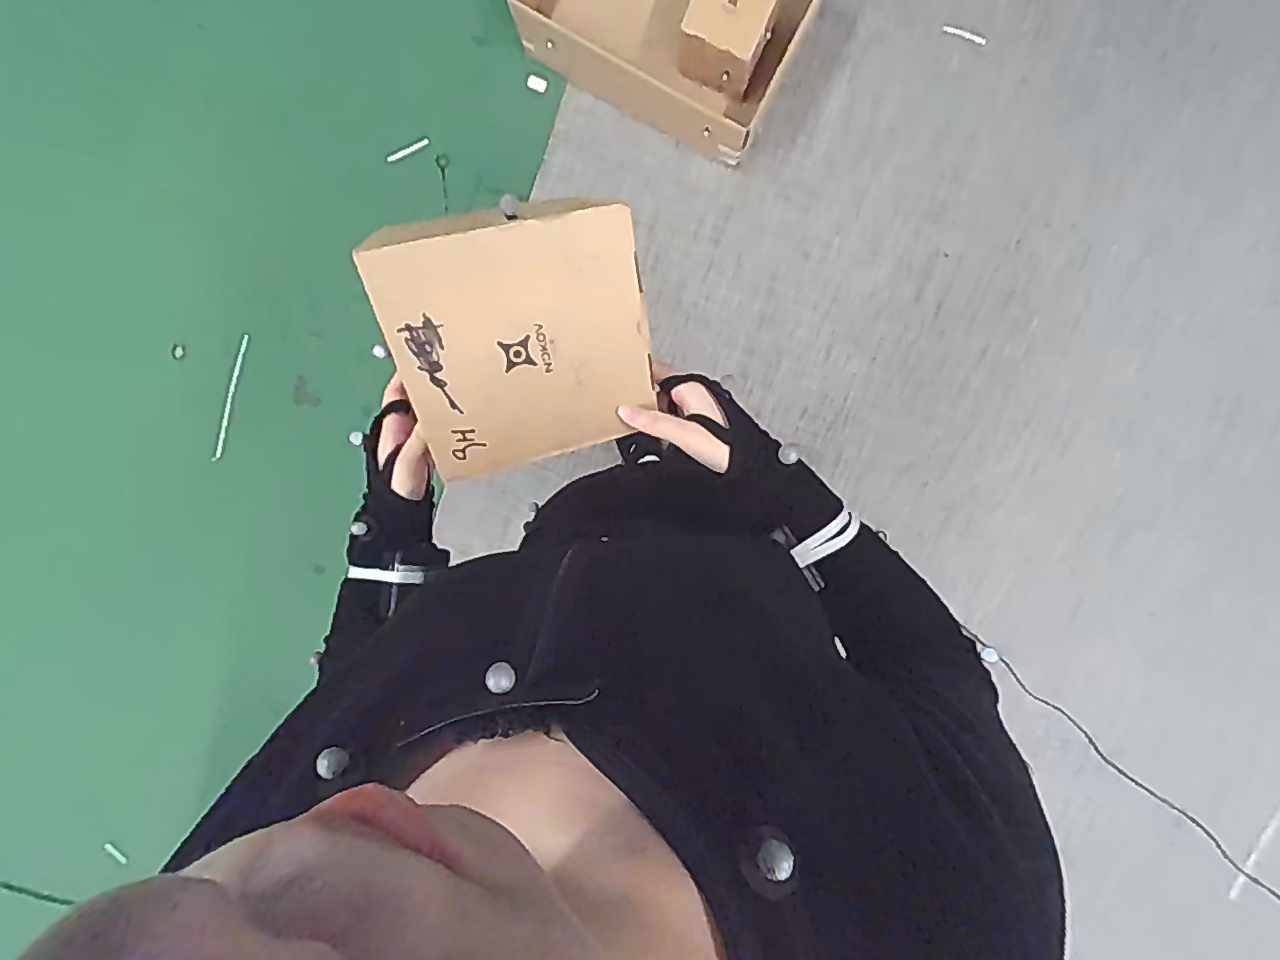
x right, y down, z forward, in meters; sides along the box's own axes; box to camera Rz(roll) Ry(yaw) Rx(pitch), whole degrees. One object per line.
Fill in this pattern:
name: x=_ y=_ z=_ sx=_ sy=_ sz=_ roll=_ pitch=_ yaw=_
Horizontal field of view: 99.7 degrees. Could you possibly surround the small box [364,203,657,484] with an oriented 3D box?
small box: x=-0.102 y=-0.124 z=0.444 sx=0.179 sy=0.176 sz=0.168 roll=-16 pitch=122 yaw=-12
